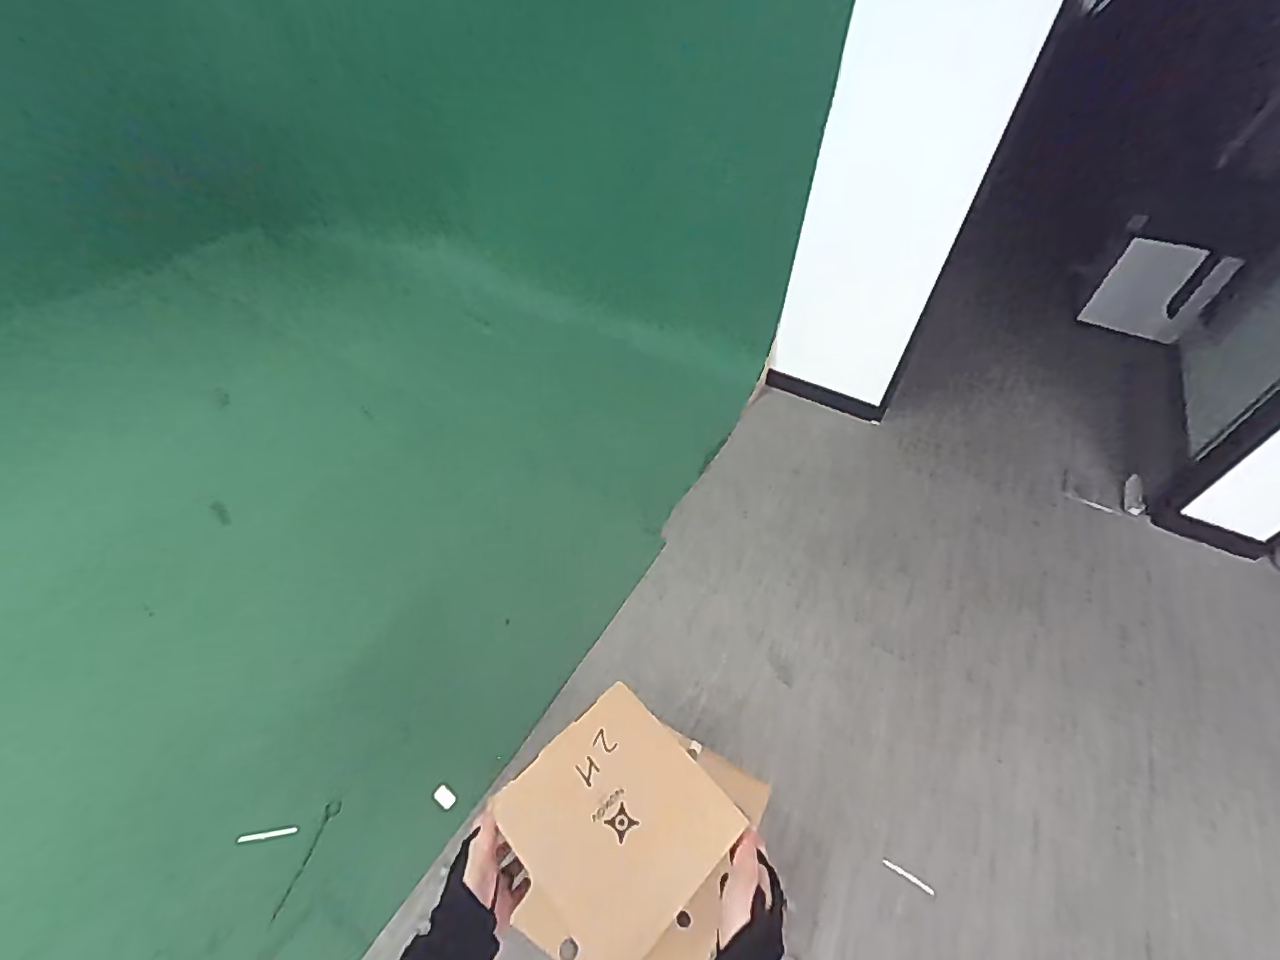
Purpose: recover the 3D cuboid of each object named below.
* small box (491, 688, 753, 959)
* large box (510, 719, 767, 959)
[{"bbox_3d":[-0.017,0.348,0.537,0.168,0.176,0.179,-36,60,-25],"label":"small box"},{"bbox_3d":[0.009,0.743,1.053,0.320,0.320,0.408,24,51,19],"label":"large box"}]
